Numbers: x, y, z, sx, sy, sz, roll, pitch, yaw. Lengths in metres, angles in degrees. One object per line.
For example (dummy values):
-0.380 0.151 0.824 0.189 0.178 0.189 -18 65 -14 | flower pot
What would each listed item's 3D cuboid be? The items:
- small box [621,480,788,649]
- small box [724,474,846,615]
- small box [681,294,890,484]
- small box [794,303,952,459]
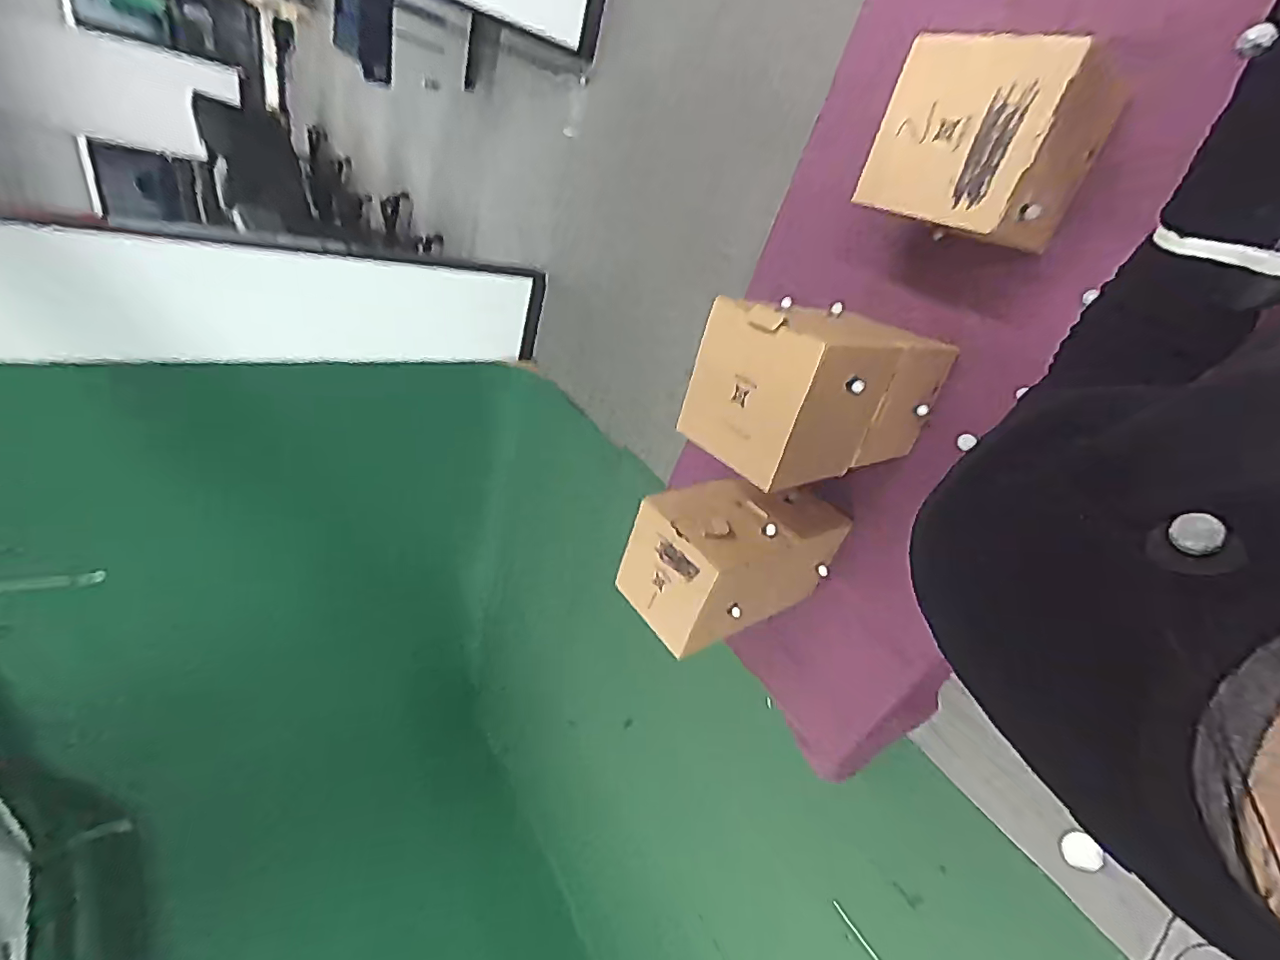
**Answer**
0.101 0.120 0.836 0.168 0.176 0.179 43 130 36 | small box
0.227 0.096 0.940 0.168 0.176 0.179 44 129 36 | small box
0.184 -0.120 0.684 0.168 0.176 0.179 41 128 39 | small box
0.307 -0.148 0.788 0.179 0.176 0.168 38 126 38 | small box
